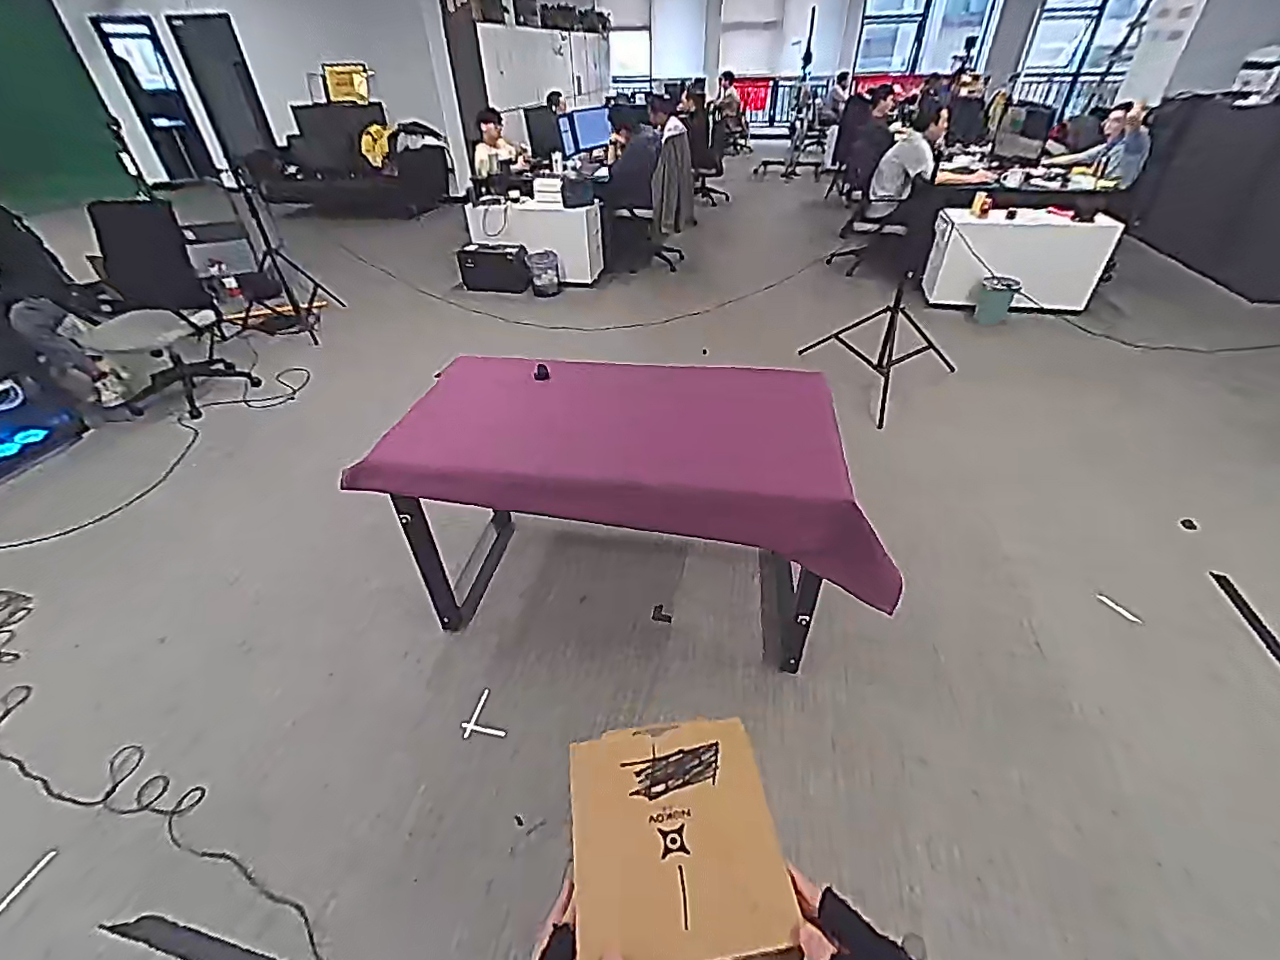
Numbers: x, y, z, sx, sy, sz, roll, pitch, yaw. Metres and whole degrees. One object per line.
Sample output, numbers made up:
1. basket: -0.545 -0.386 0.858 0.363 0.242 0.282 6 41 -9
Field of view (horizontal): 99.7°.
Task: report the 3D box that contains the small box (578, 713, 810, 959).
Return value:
1. small box: 0.035 0.347 0.489 0.168 0.176 0.179 -7 33 -4
